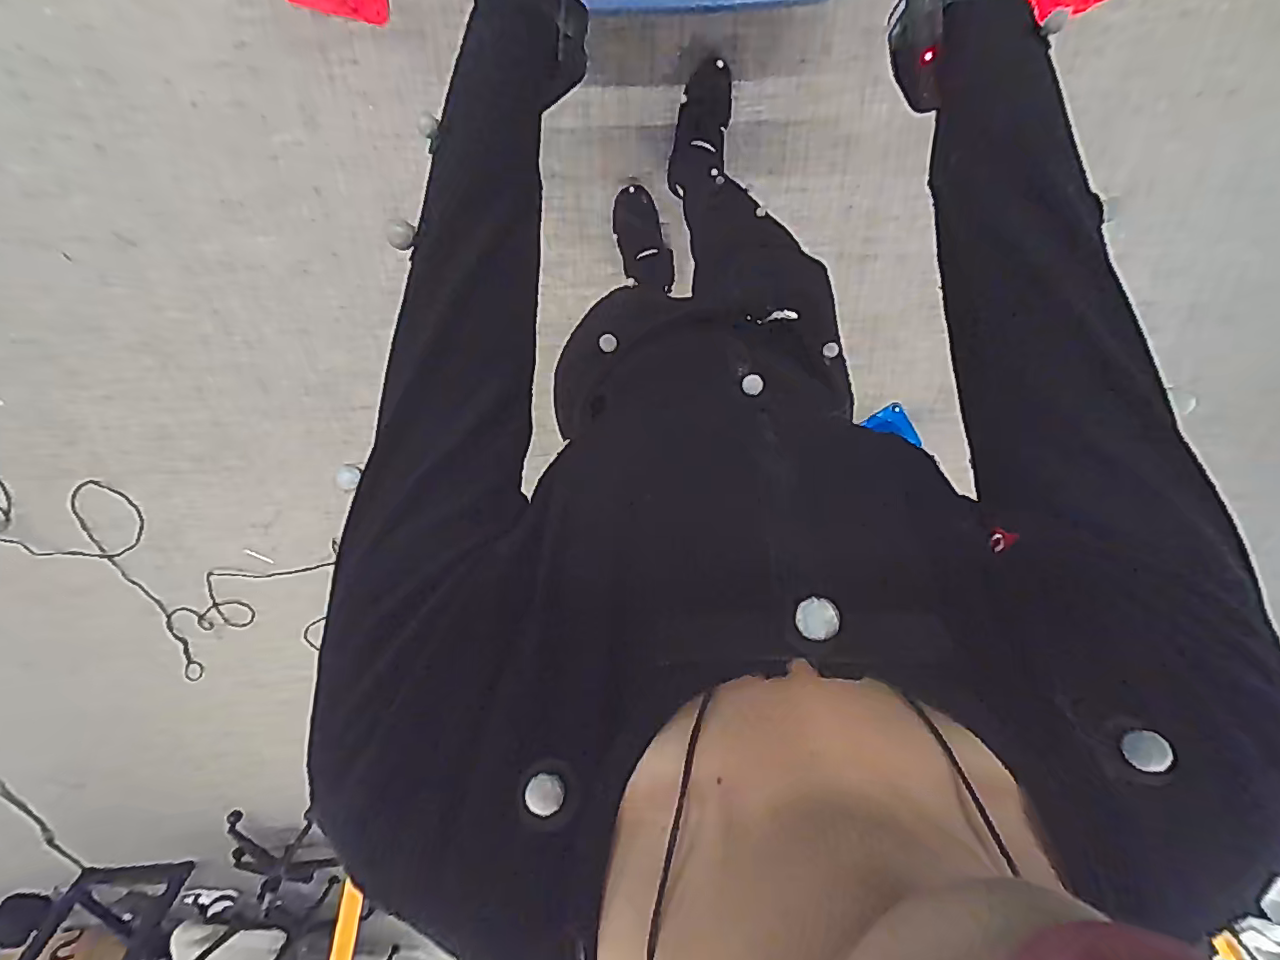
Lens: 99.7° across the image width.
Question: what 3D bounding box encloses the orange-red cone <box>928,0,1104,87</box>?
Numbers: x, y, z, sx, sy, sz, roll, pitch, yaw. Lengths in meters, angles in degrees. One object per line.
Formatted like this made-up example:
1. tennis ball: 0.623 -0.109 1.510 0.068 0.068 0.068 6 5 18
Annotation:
1. orange-red cone: 0.710 -0.836 0.949 0.198 0.360 0.199 8 123 -6
